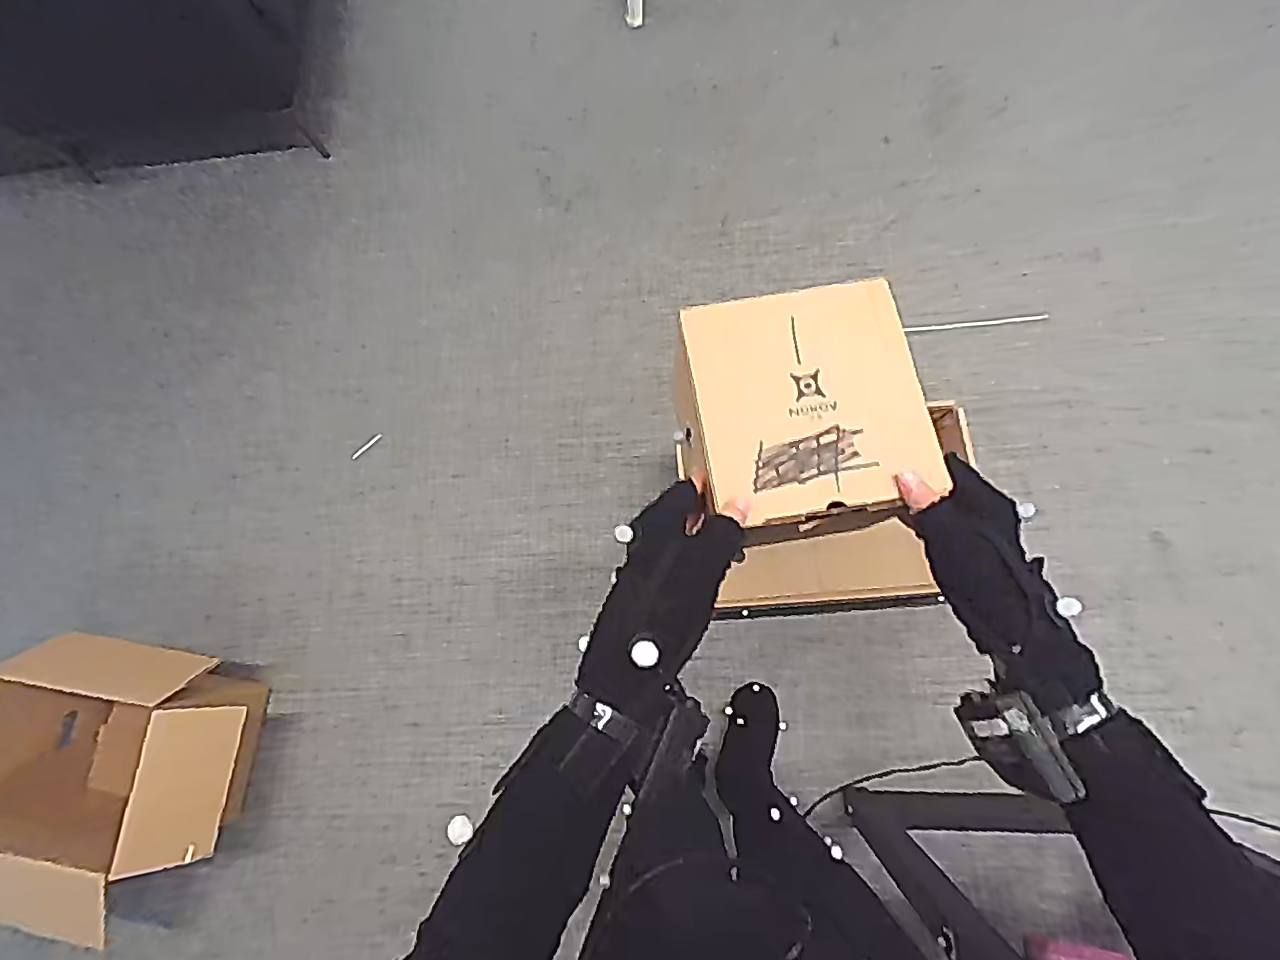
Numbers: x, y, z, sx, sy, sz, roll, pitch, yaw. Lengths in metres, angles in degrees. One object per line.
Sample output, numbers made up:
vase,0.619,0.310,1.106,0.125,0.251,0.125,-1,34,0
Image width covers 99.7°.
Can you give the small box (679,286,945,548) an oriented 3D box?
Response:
small box,0.129,-0.039,0.482,0.168,0.176,0.179,-8,75,-1
